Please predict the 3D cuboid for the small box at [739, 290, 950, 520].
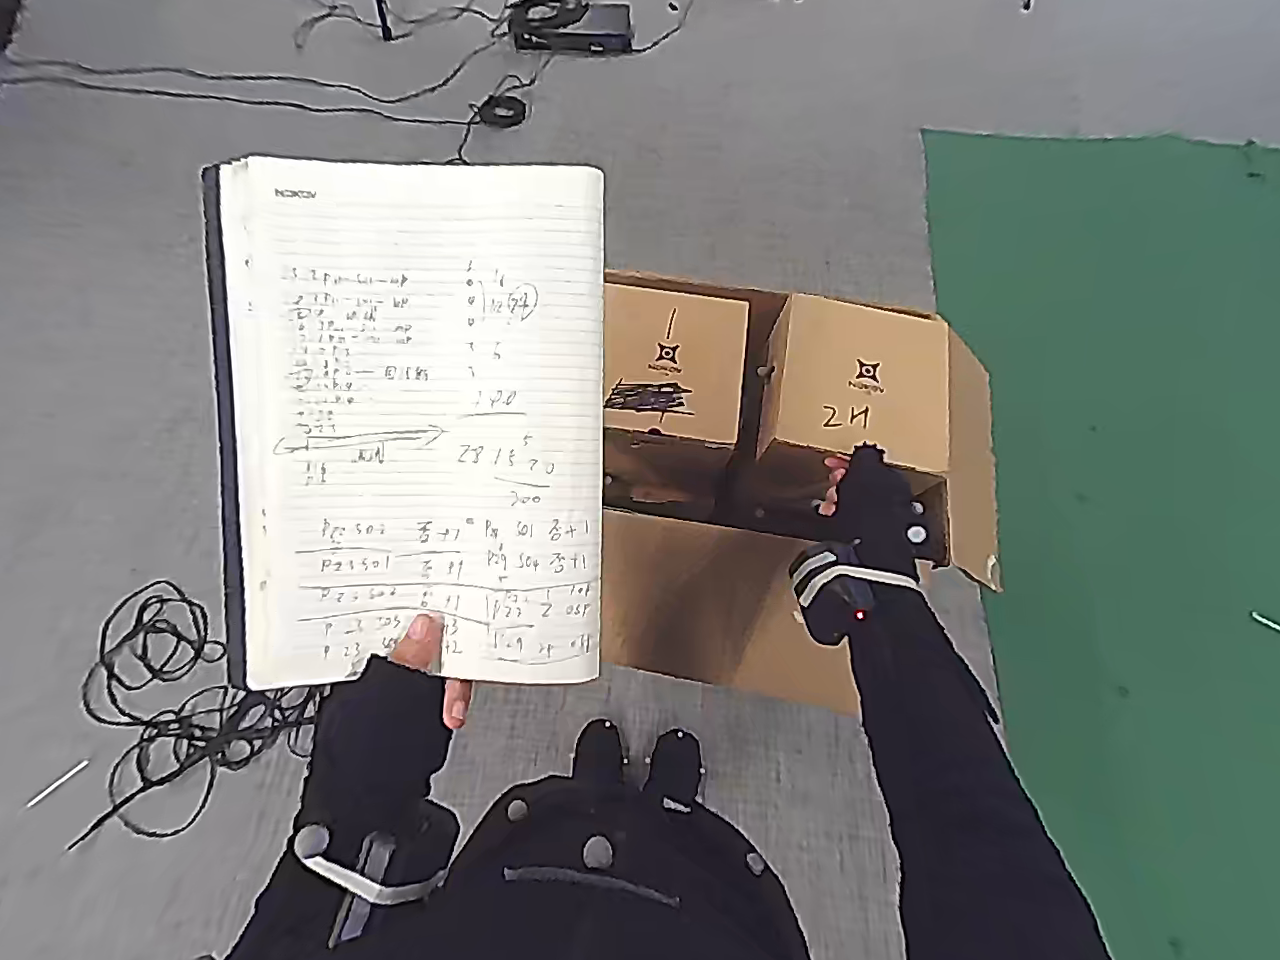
[{"bbox_3d":[0.217,-0.074,0.605,0.168,0.176,0.179,12,68,0],"label":"small box"}]
